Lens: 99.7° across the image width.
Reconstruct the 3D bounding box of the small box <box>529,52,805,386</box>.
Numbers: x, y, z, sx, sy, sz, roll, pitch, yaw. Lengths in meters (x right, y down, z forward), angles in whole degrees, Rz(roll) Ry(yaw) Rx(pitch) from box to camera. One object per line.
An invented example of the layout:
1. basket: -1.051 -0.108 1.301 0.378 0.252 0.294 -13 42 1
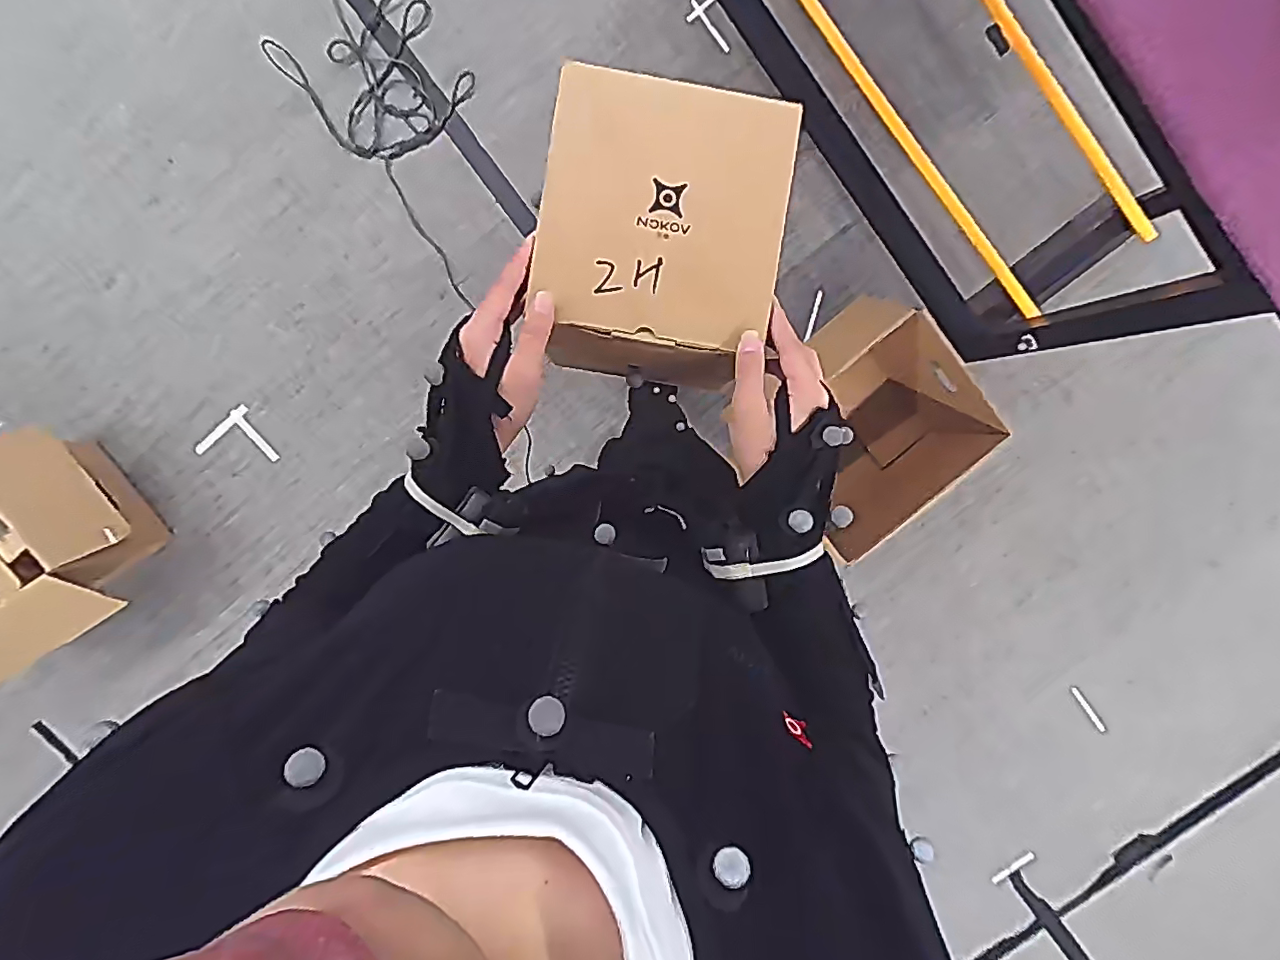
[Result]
1. small box: 0.015 -0.186 0.441 0.168 0.176 0.179 9 91 -2
